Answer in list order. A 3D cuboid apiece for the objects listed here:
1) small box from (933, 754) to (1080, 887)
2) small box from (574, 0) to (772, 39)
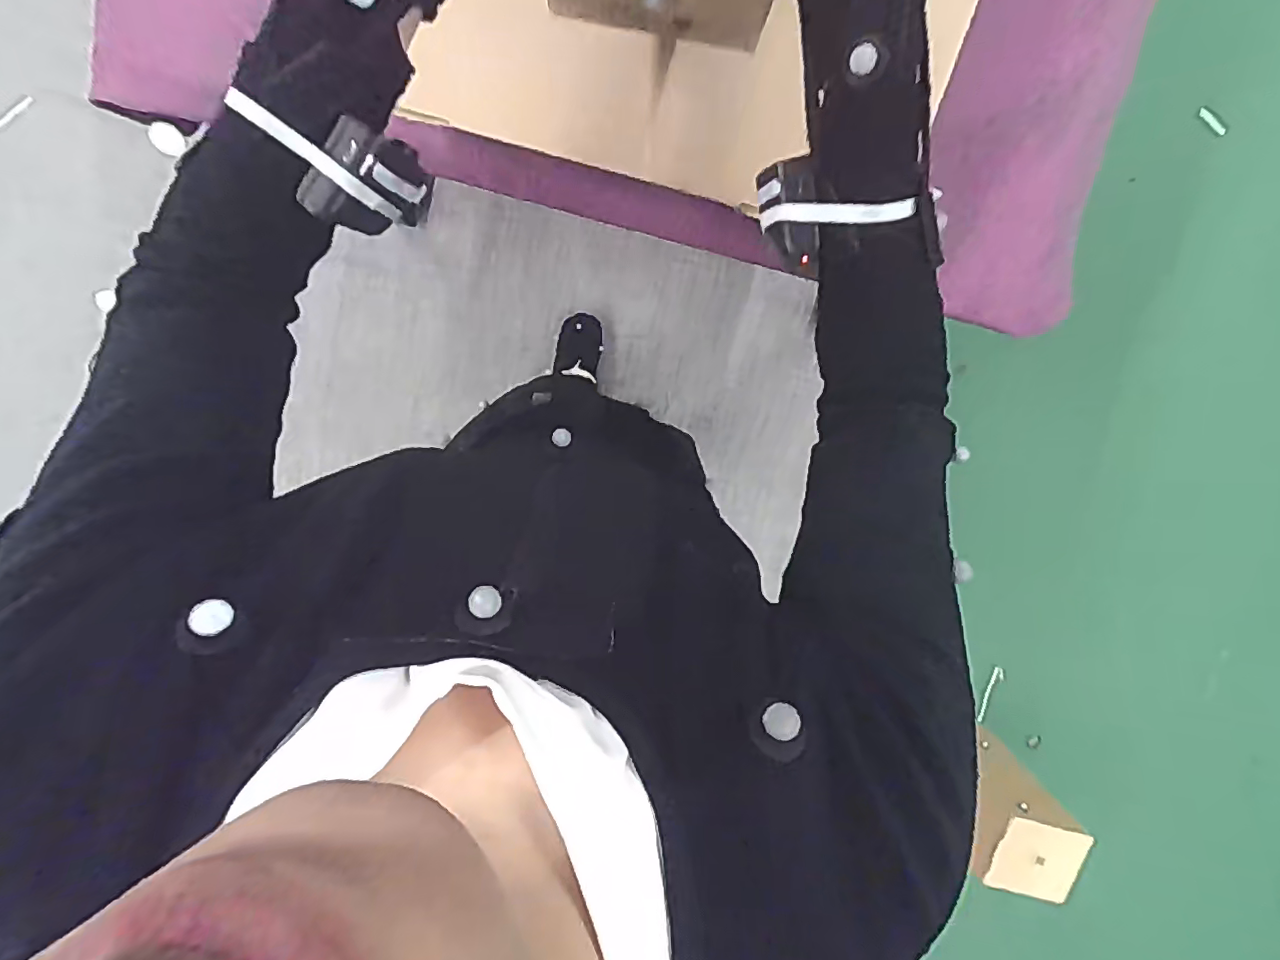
[{"bbox_3d":[0.793,0.738,1.188,0.179,0.176,0.168,15,101,-2],"label":"small box"},{"bbox_3d":[0.031,-0.429,0.327,0.168,0.176,0.179,10,99,-3],"label":"small box"}]
